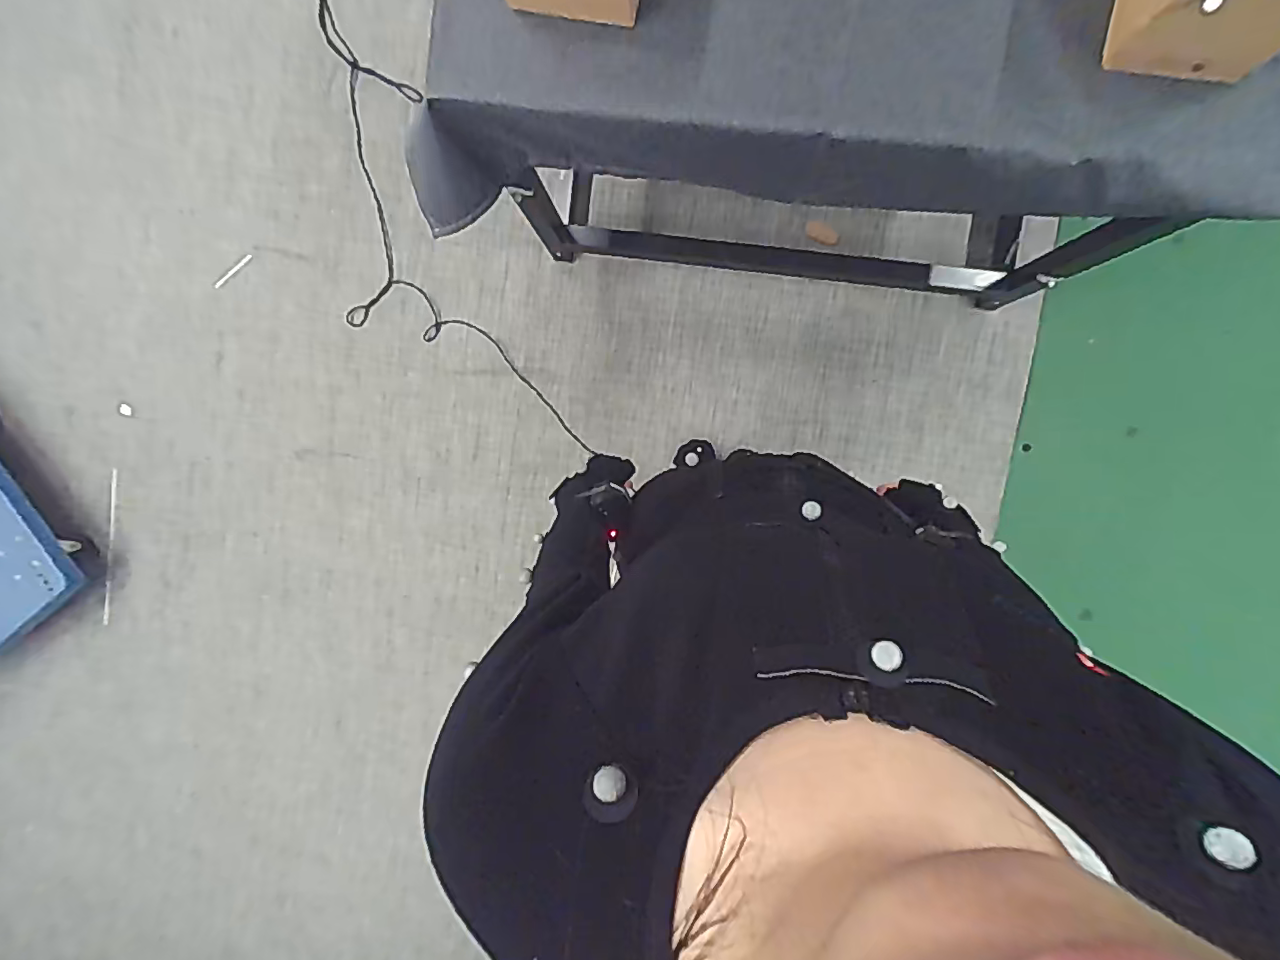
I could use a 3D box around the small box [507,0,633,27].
[{"bbox_3d":[-0.086,-0.700,0.653,0.179,0.176,0.168,11,94,3],"label":"small box"}]
